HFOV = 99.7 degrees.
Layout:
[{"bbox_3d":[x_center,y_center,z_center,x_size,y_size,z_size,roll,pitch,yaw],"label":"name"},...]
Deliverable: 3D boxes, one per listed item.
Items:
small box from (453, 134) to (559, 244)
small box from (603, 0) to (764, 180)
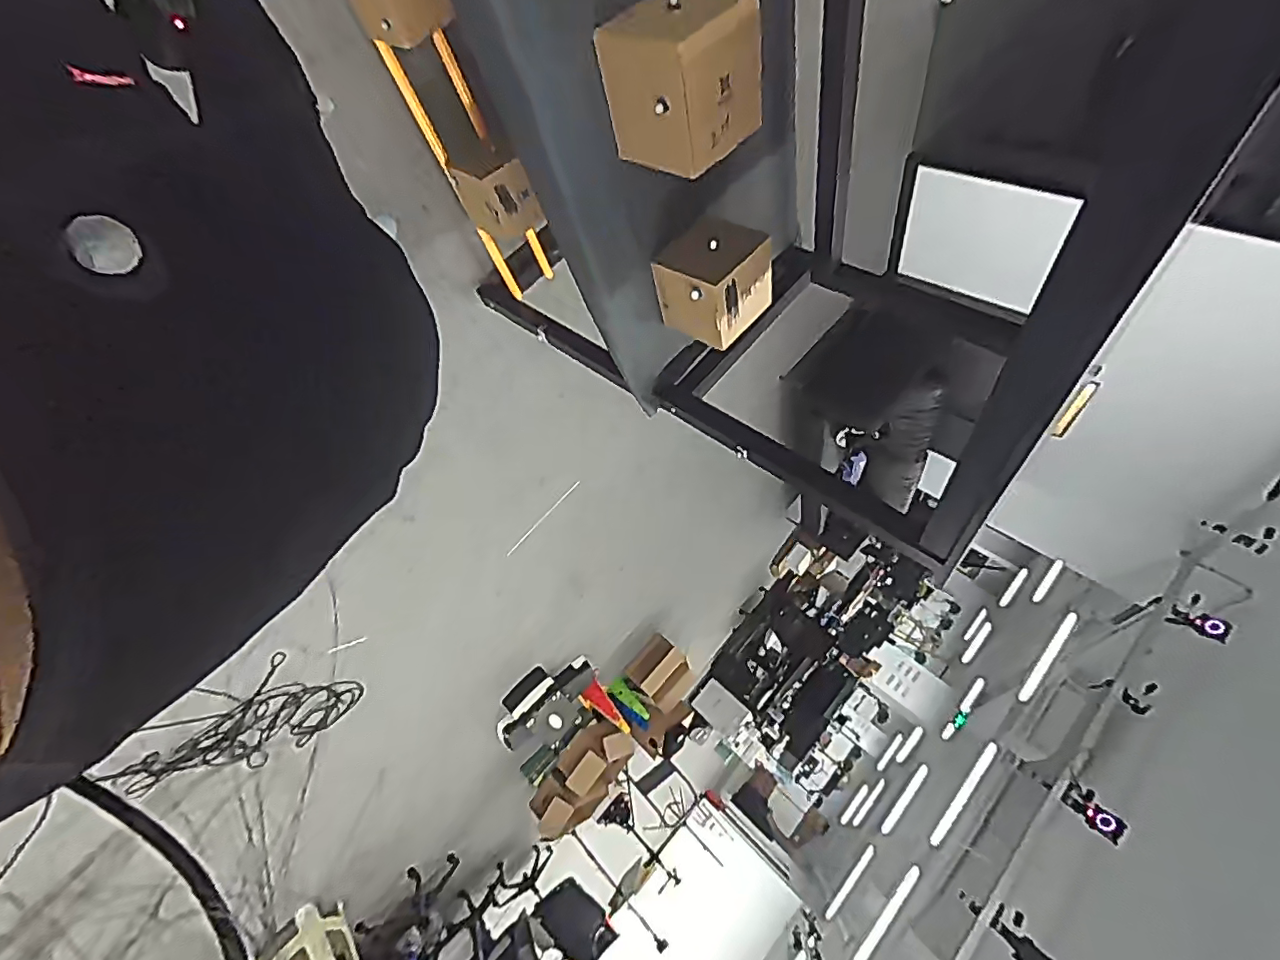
[{"bbox_3d":[-0.338,-0.725,1.343,0.179,0.176,0.168,-44,149,-17],"label":"small box"},{"bbox_3d":[0.067,-0.588,0.805,0.168,0.176,0.179,-44,149,-16],"label":"small box"}]
